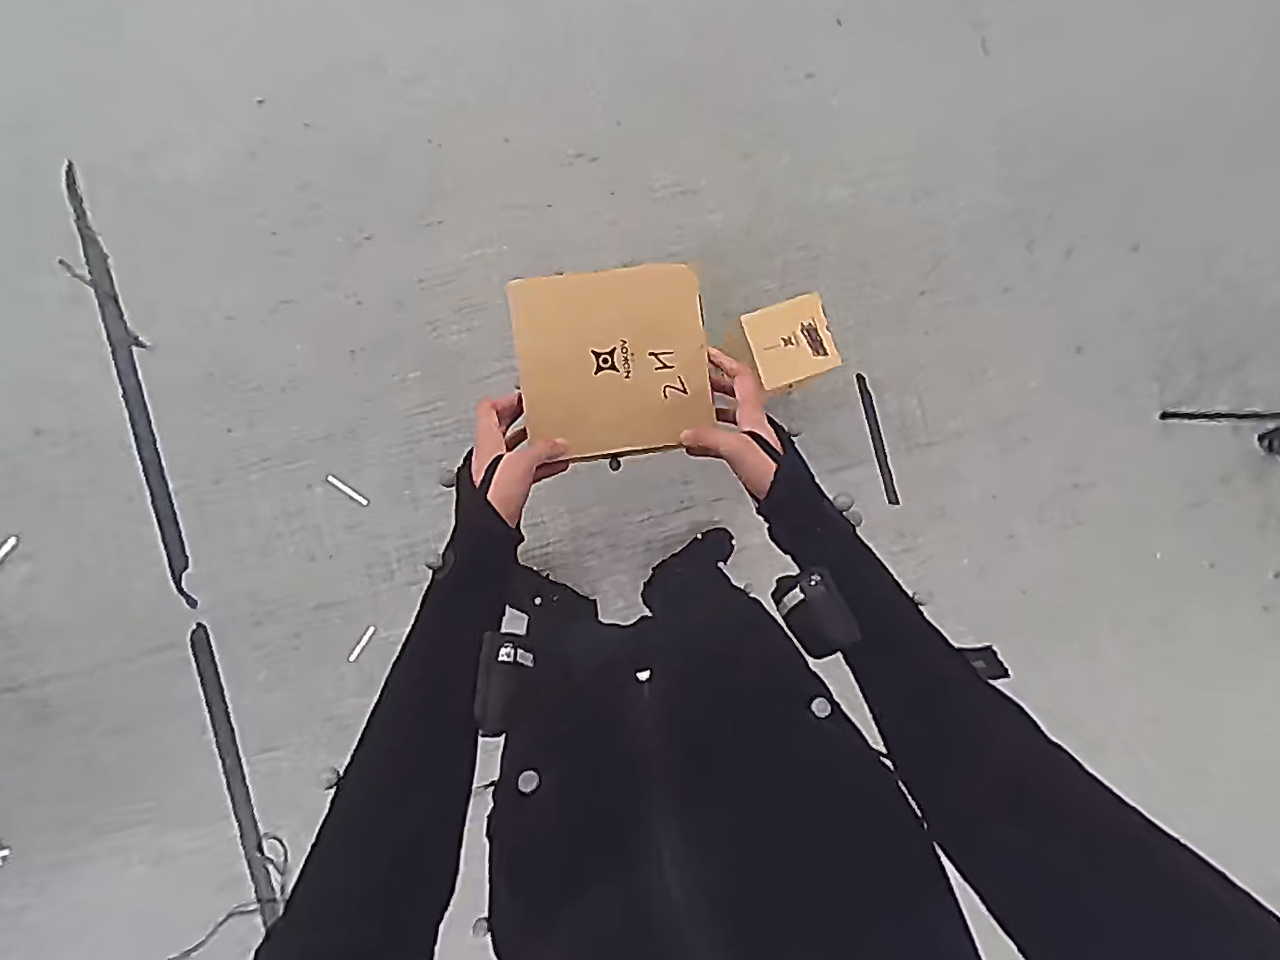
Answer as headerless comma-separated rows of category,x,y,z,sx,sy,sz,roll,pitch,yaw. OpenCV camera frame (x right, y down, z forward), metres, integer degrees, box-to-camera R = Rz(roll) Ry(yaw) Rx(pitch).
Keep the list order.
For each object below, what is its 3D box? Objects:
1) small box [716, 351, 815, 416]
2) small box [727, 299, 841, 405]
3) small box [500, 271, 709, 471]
small box,0.310,-0.272,1.369,0.179,0.176,0.168,-20,91,-3
small box,0.313,-0.277,1.205,0.179,0.176,0.168,-18,91,-2
small box,-0.036,-0.100,0.569,0.179,0.176,0.168,-8,91,-4
